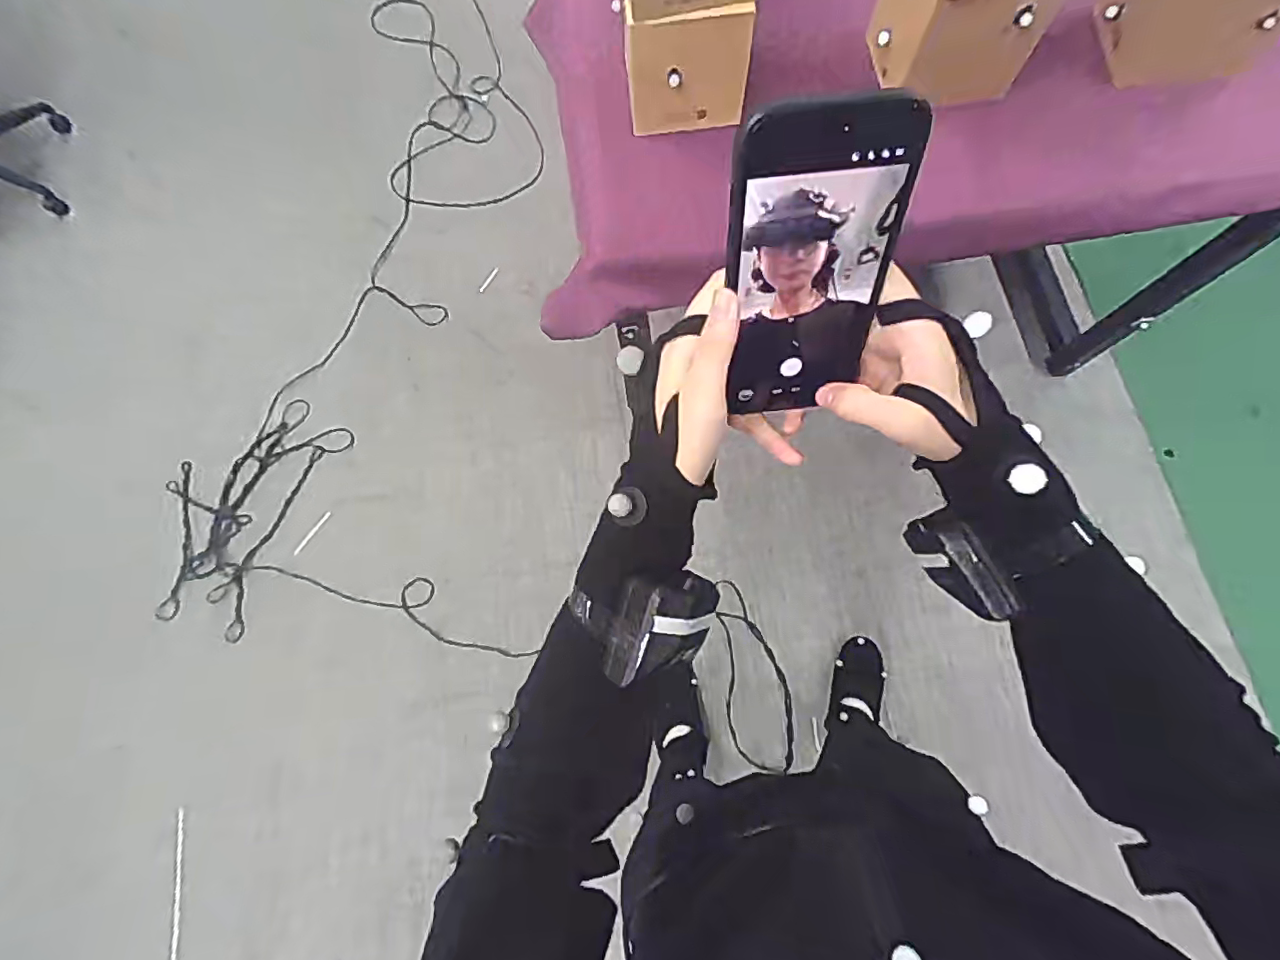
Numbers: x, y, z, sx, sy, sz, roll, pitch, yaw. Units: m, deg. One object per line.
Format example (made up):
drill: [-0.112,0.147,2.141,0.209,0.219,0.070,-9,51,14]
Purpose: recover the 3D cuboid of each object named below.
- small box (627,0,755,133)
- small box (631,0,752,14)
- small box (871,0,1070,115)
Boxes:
small box: [0.068,-0.642,0.791,0.168,0.176,0.179,-5,74,2]
small box: [0.057,-0.694,0.635,0.168,0.176,0.179,-10,74,0]
small box: [0.458,-0.662,0.769,0.179,0.176,0.168,-6,74,2]
